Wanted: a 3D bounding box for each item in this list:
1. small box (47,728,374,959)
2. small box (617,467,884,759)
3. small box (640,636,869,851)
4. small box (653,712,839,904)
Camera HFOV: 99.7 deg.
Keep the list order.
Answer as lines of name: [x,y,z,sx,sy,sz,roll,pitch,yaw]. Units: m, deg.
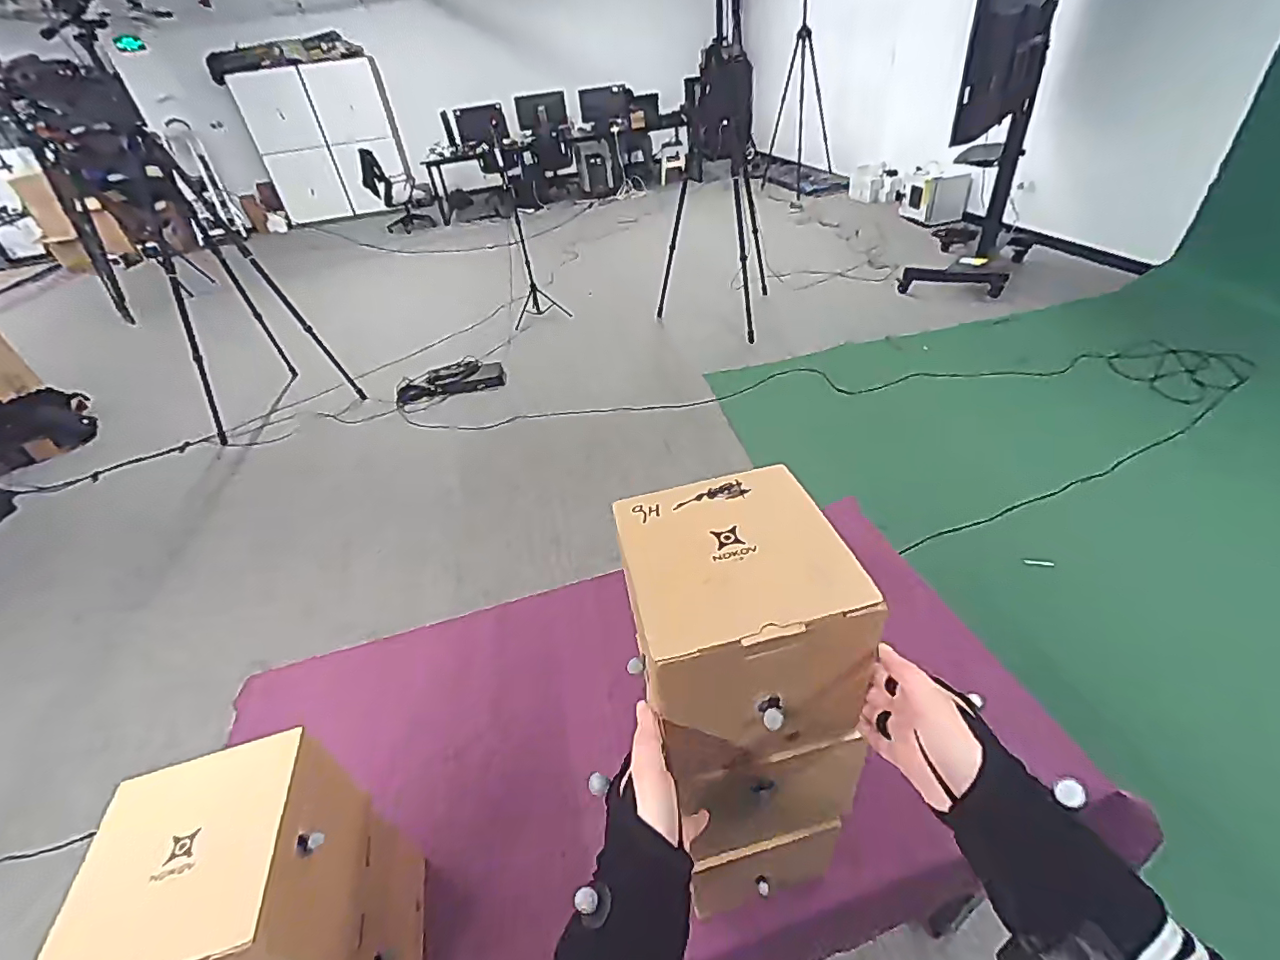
small box: [-0.368,0.374,0.504,0.168,0.176,0.179,-15,39,-8]
small box: [0.083,0.118,0.474,0.168,0.176,0.179,-12,38,-5]
small box: [0.110,0.254,0.566,0.179,0.176,0.168,-13,38,-6]
small box: [0.122,0.385,0.664,0.168,0.176,0.179,-13,38,-6]
